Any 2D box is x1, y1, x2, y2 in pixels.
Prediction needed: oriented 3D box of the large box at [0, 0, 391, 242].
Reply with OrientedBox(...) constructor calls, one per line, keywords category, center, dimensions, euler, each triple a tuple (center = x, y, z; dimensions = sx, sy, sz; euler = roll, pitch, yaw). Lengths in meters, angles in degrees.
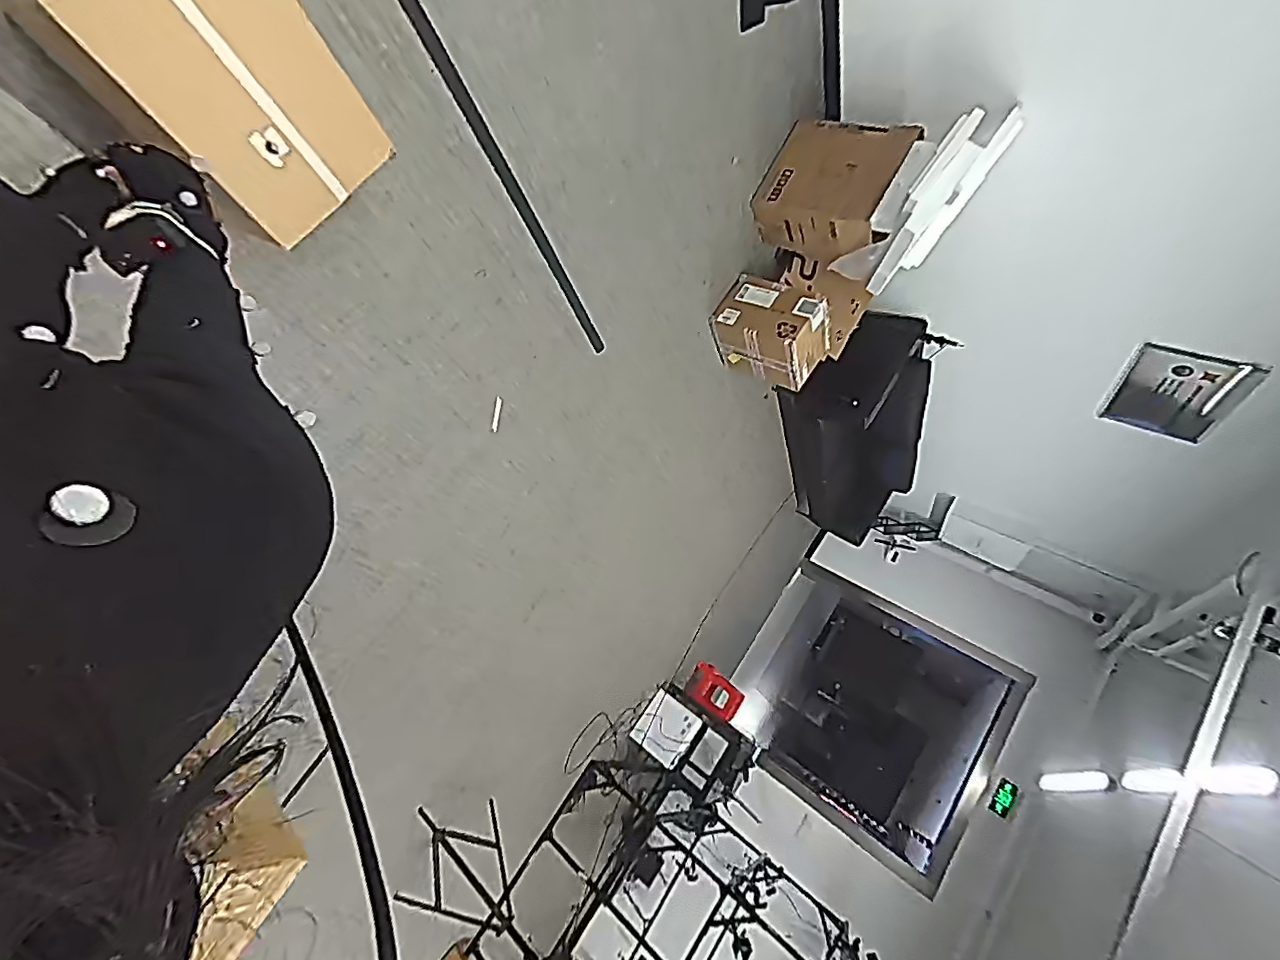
OrientedBox(category="large box", center=(-0.763, -0.722, 0.972), dimensions=(0.320, 0.320, 0.408), euler=(-53, 150, -14))
